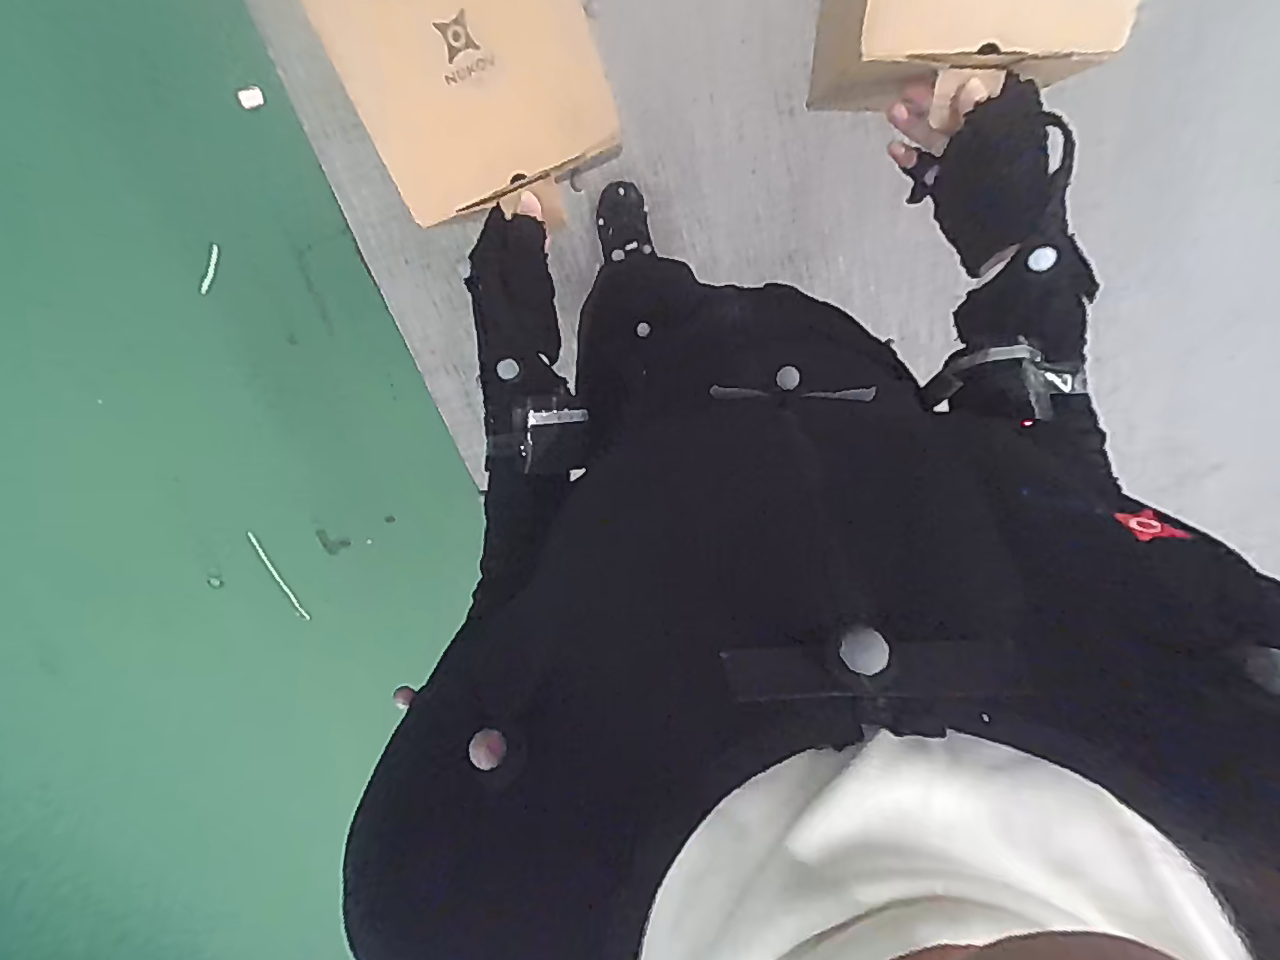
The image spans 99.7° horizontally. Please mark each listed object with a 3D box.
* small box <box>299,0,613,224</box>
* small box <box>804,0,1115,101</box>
[{"bbox_3d":[-0.125,-0.326,0.427,0.168,0.176,0.179,-21,116,8],"label":"small box"},{"bbox_3d":[0.225,-0.392,0.391,0.168,0.176,0.179,3,116,3],"label":"small box"}]
